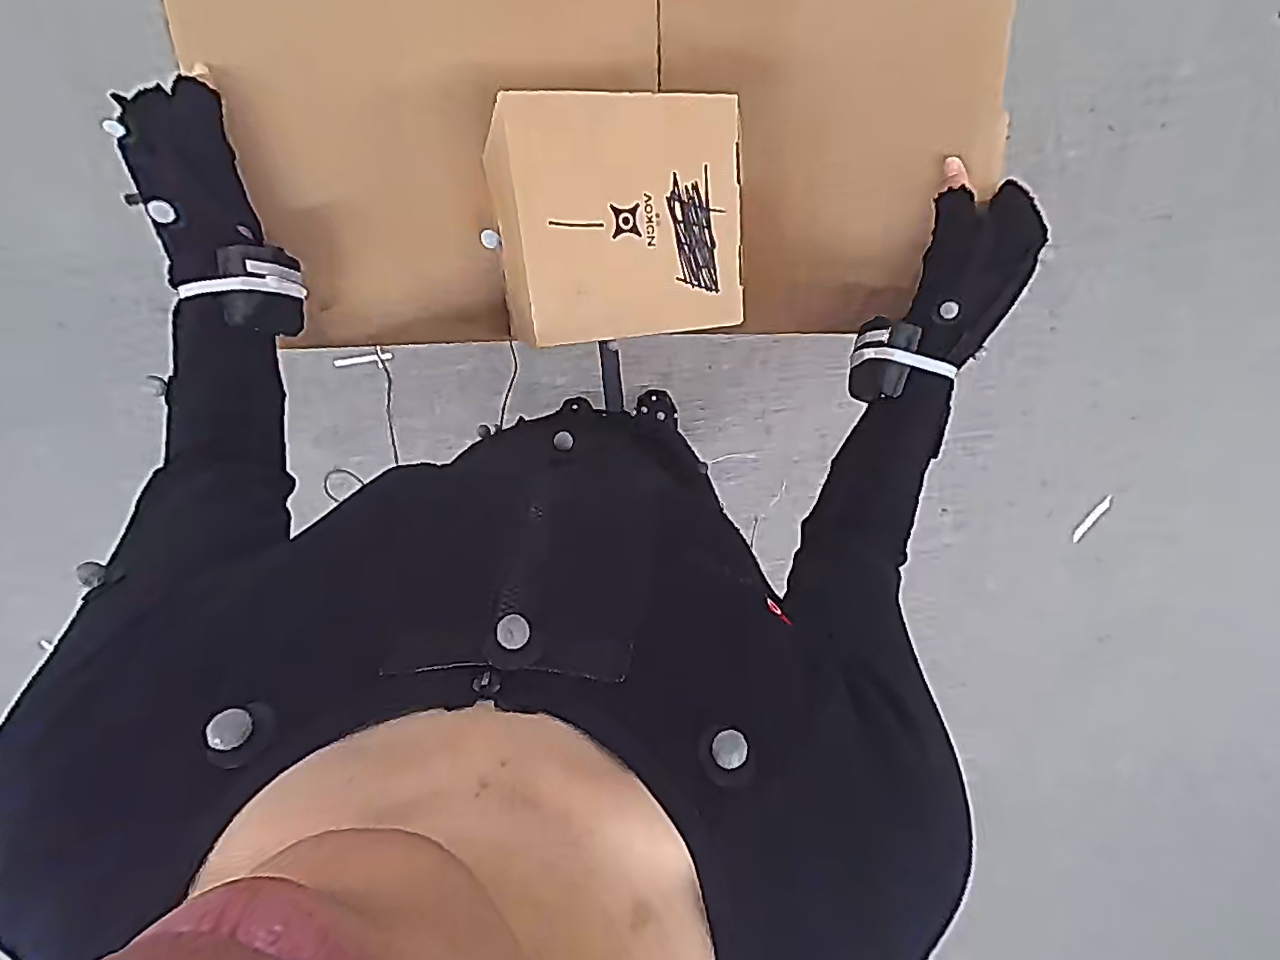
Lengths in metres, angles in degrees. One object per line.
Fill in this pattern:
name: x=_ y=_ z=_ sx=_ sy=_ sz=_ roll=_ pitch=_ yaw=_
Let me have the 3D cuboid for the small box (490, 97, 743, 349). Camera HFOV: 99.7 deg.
small box: x=-0.026 y=-0.214 z=0.477 sx=0.179 sy=0.176 sz=0.168 roll=-11 pitch=110 yaw=-16
